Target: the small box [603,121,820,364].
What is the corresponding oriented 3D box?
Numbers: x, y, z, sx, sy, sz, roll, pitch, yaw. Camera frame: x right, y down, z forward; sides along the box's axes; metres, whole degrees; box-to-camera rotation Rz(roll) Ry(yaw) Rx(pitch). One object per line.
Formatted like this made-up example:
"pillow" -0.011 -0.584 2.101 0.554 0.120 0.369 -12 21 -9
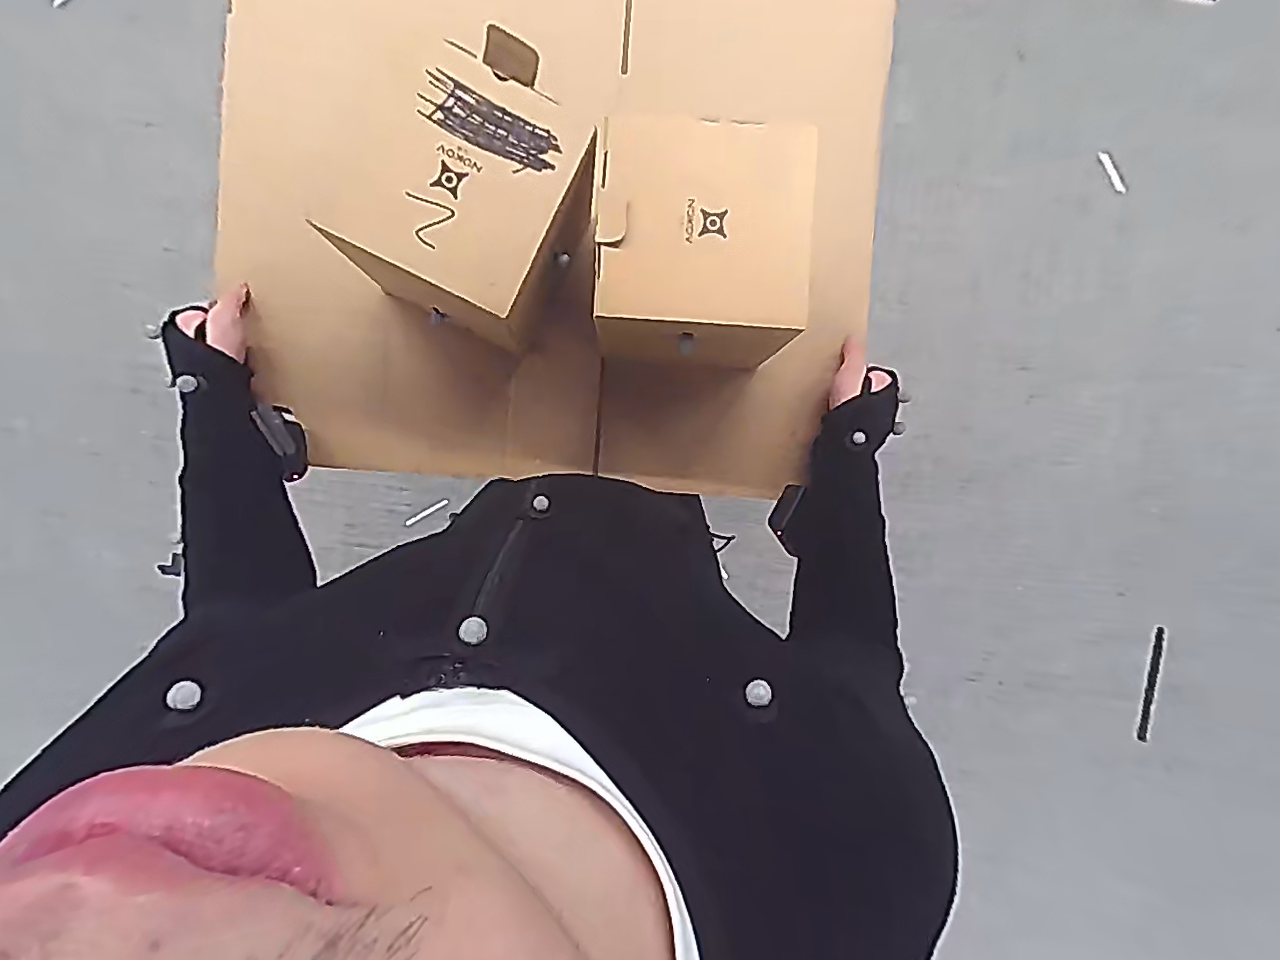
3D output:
"small box" 0.059 -0.214 0.533 0.179 0.176 0.168 3 91 -1
